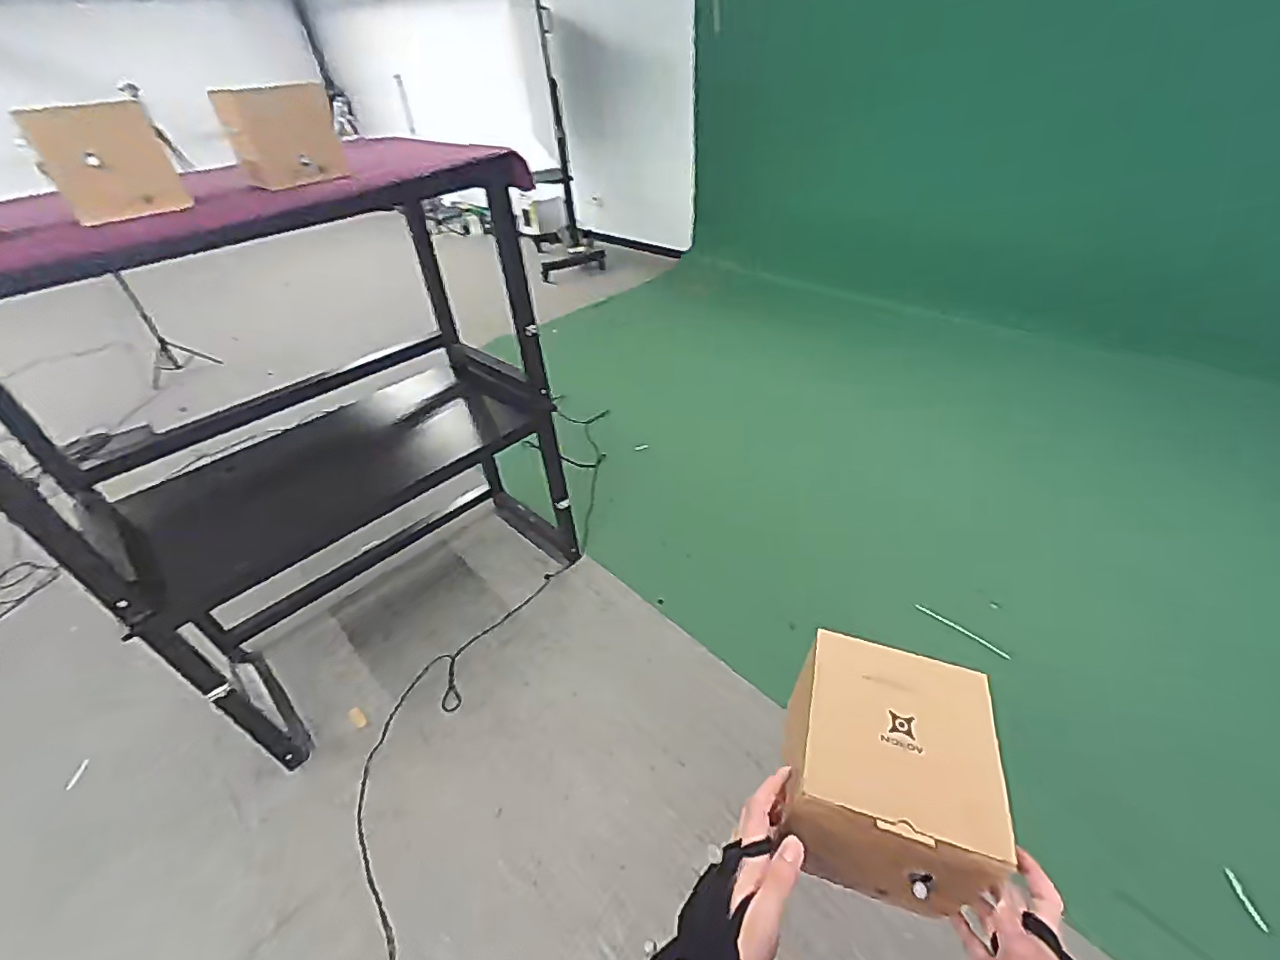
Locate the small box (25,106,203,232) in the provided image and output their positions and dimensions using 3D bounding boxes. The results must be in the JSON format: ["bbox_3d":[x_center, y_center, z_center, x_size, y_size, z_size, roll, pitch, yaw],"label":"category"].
[{"bbox_3d":[-0.927,-0.554,0.964,0.168,0.176,0.179,-34,45,-31],"label":"small box"}]

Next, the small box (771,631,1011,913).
[{"bbox_3d":[0.234,0.290,0.543,0.168,0.176,0.179,13,41,13],"label":"small box"}]

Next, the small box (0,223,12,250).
[{"bbox_3d":[-1.131,-0.423,0.818,0.179,0.176,0.168,-33,46,-32],"label":"small box"}]
